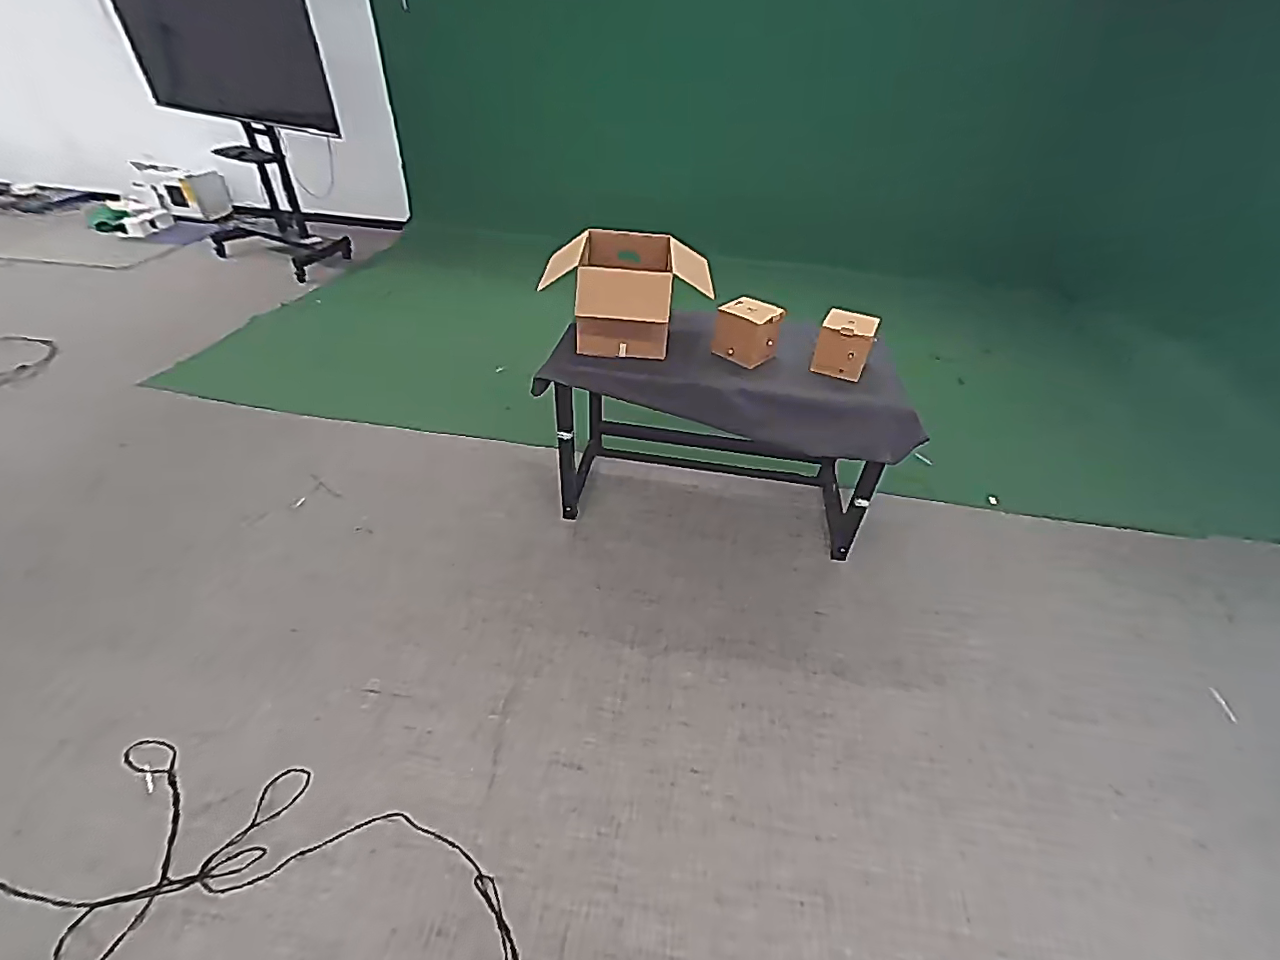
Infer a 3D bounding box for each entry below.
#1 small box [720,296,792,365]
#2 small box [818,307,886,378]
[{"bbox_3d":[0.403,-0.523,1.903,0.179,0.176,0.168,33,49,30],"label":"small box"},{"bbox_3d":[0.727,-0.471,1.861,0.168,0.176,0.179,20,42,18],"label":"small box"}]
